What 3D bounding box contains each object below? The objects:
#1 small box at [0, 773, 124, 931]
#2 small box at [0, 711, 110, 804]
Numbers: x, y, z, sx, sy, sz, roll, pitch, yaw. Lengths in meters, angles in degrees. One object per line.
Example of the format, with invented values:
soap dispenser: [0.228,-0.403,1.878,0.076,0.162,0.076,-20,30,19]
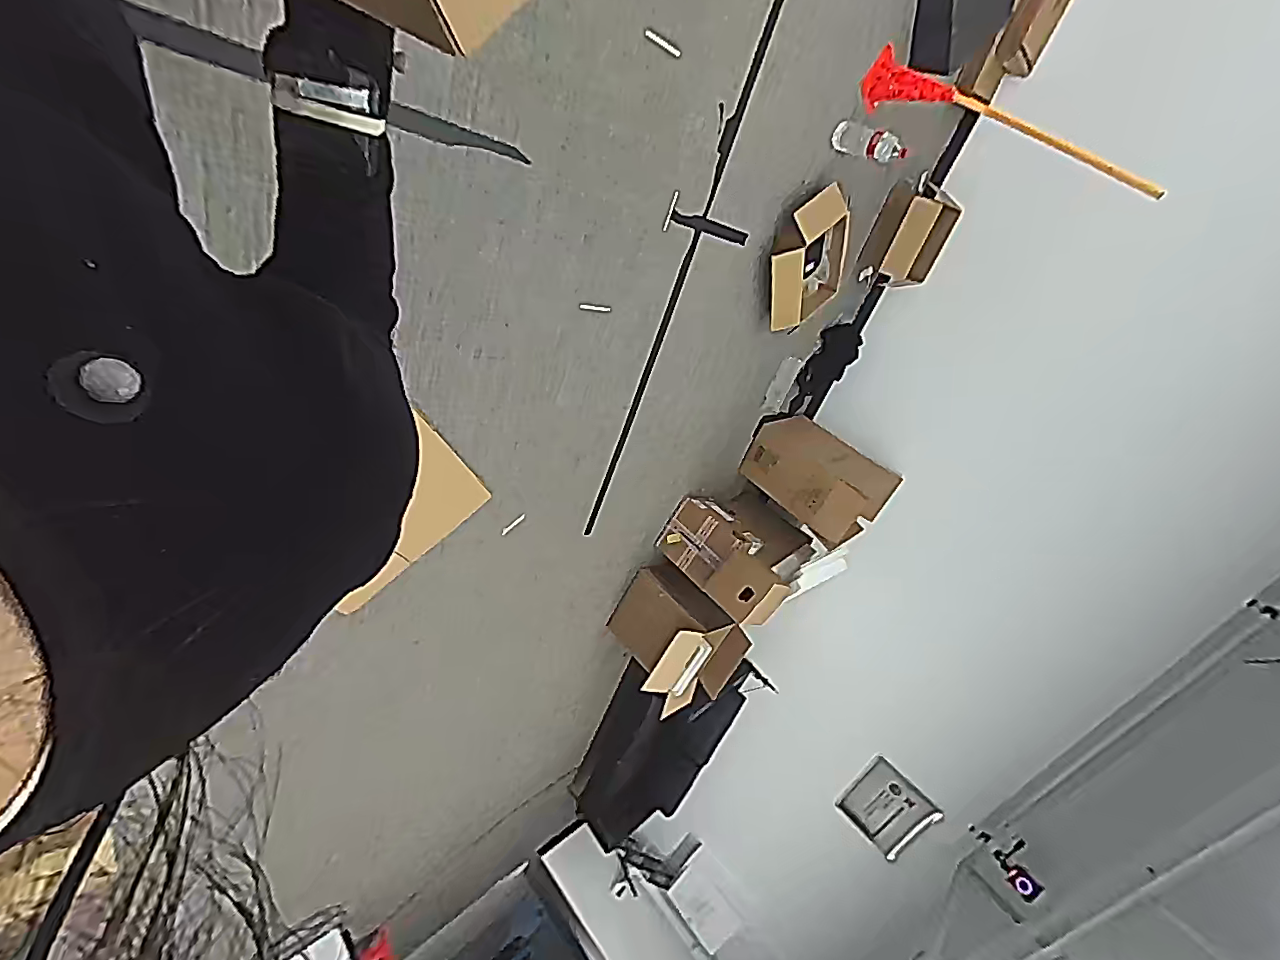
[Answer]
small box: [-1.165,0.728,1.083,0.168,0.176,0.179,-9,129,-48]
small box: [-1.271,0.629,1.162,0.168,0.176,0.179,-6,128,-50]
